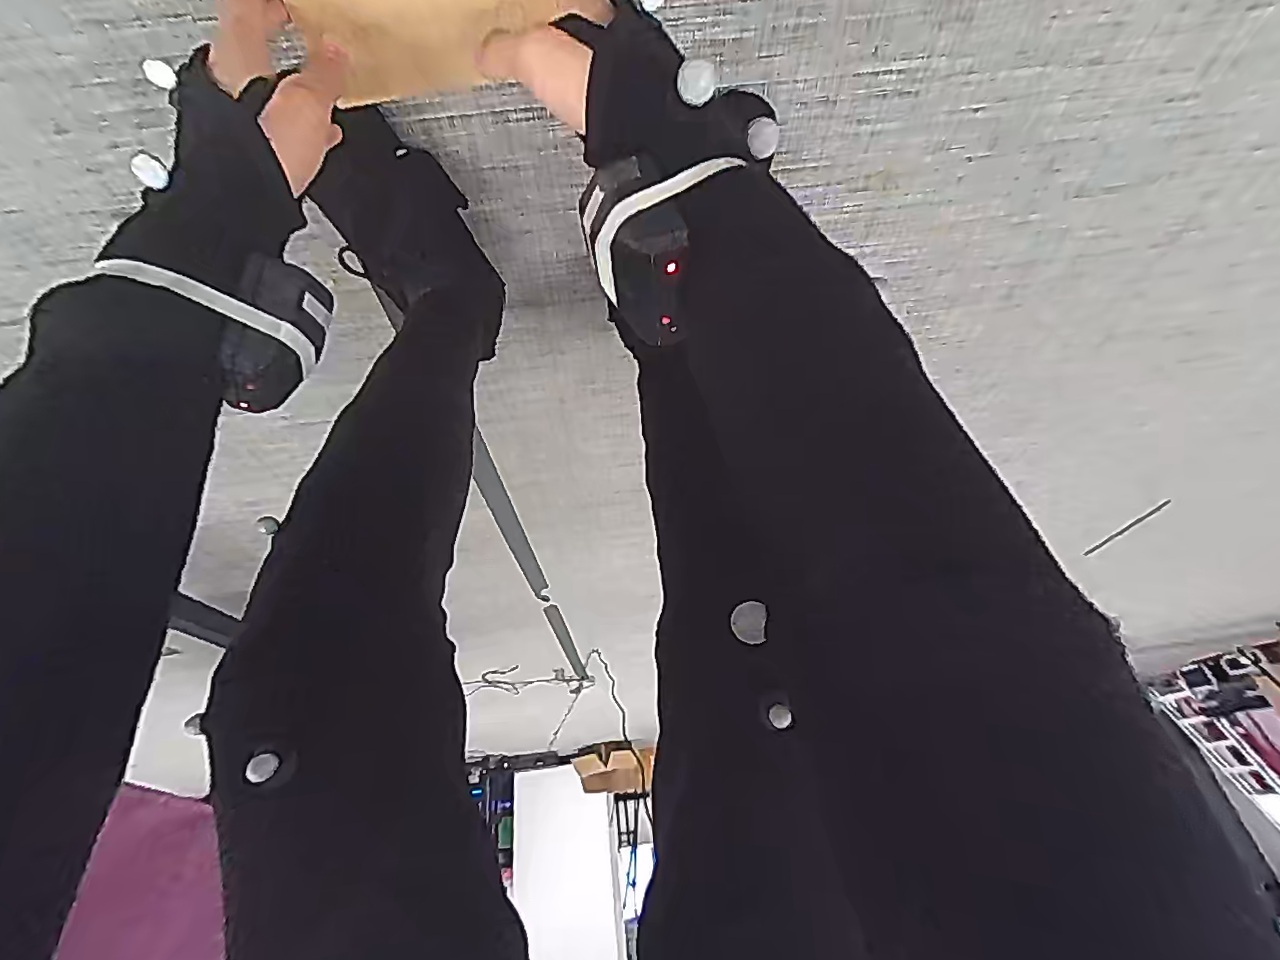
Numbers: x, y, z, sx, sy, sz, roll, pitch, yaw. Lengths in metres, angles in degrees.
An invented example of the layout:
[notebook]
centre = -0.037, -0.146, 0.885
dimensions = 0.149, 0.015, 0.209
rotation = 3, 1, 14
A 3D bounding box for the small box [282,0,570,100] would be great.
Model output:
[small box]
centre = -0.140, -0.377, 0.329
dimensions = 0.168, 0.176, 0.179
rotation = -9, 148, 1
